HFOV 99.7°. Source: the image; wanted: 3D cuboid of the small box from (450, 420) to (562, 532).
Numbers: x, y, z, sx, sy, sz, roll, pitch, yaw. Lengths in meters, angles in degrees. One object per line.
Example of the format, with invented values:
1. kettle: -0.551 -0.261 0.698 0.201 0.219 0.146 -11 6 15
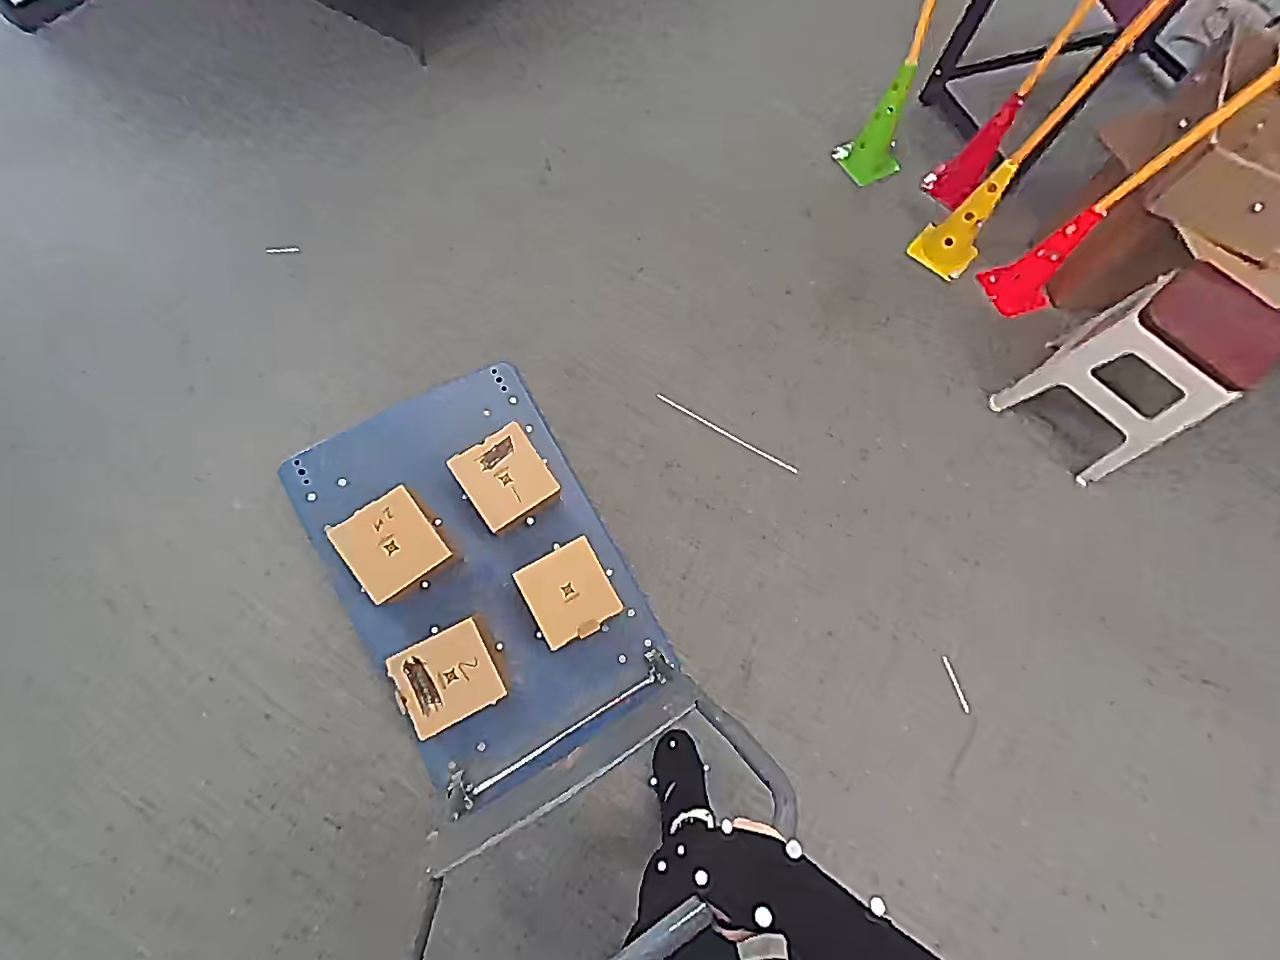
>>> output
1. small box: -0.288 0.000 1.183 0.168 0.176 0.179 -34 88 -13

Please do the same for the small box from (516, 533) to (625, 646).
1. small box: -0.153 0.233 1.167 0.168 0.176 0.179 -28 87 -13

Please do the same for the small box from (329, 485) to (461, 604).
1. small box: -0.495 0.134 1.124 0.168 0.176 0.179 -35 88 -14
